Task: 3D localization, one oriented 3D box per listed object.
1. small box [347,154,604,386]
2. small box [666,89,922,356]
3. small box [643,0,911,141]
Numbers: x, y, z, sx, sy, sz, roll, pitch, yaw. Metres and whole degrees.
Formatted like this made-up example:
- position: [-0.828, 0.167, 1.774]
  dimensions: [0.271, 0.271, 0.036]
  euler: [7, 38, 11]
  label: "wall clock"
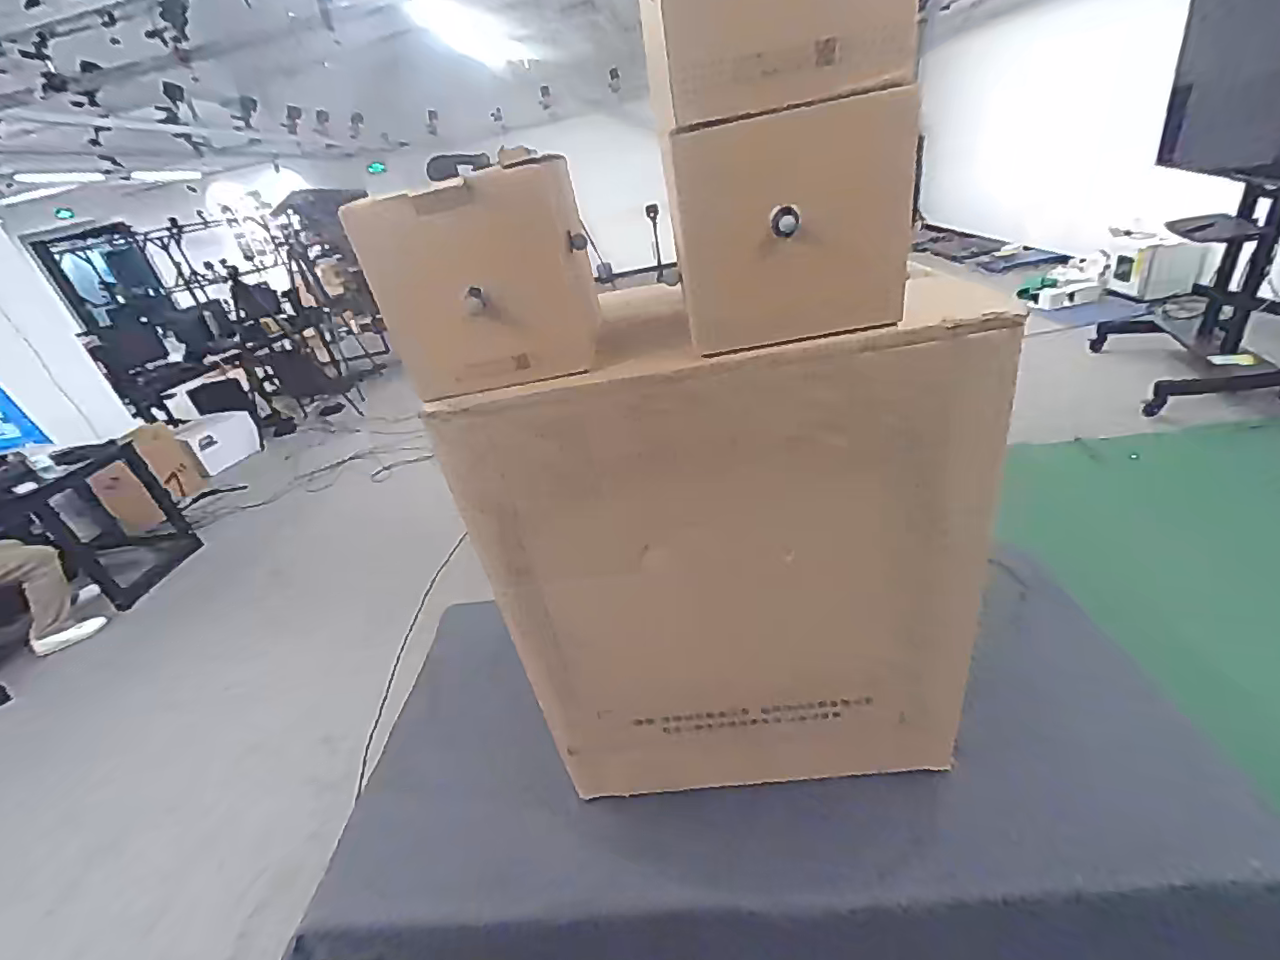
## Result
- position: [-0.135, -0.200, 0.525]
  dimensions: [0.168, 0.176, 0.179]
  euler: [-8, 32, 6]
  label: "small box"
- position: [0.121, -0.225, 0.482]
  dimensions: [0.179, 0.176, 0.168]
  euler: [-8, 31, 6]
  label: "small box"
- position: [0.091, -0.365, 0.406]
  dimensions: [0.168, 0.176, 0.179]
  euler: [-8, 30, 2]
  label: "small box"
